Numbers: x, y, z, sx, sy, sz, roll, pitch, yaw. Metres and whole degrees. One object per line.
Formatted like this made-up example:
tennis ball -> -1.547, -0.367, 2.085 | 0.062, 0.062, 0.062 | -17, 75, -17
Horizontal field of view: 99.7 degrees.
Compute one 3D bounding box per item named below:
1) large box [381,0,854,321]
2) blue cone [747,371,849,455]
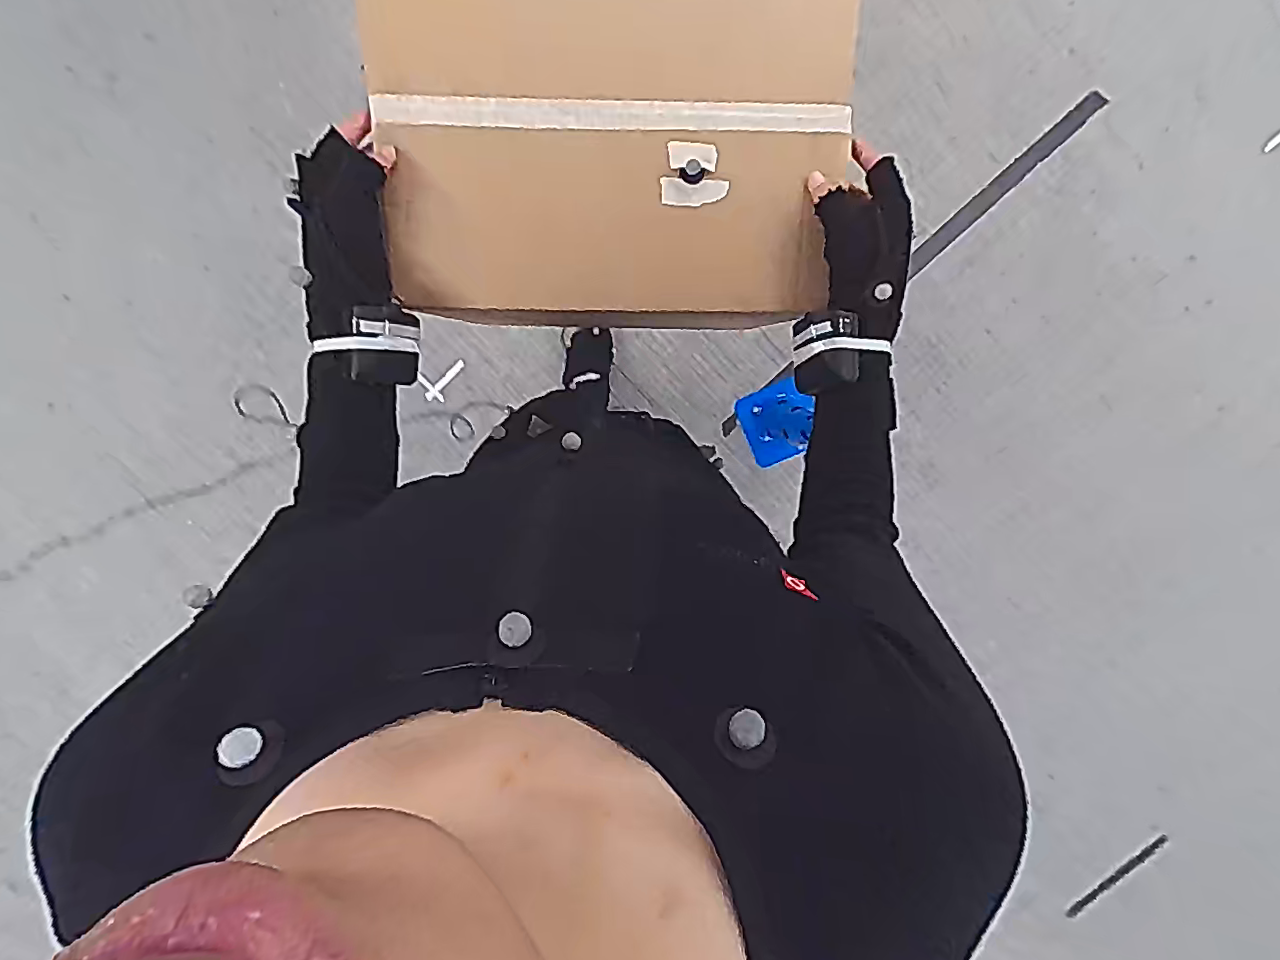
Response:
large box -> -0.024, -0.353, 0.614 | 0.408, 0.320, 0.320 | 1, 103, -2
blue cone -> 0.396, -0.150, 1.282 | 0.192, 0.380, 0.193 | -22, 99, 3
